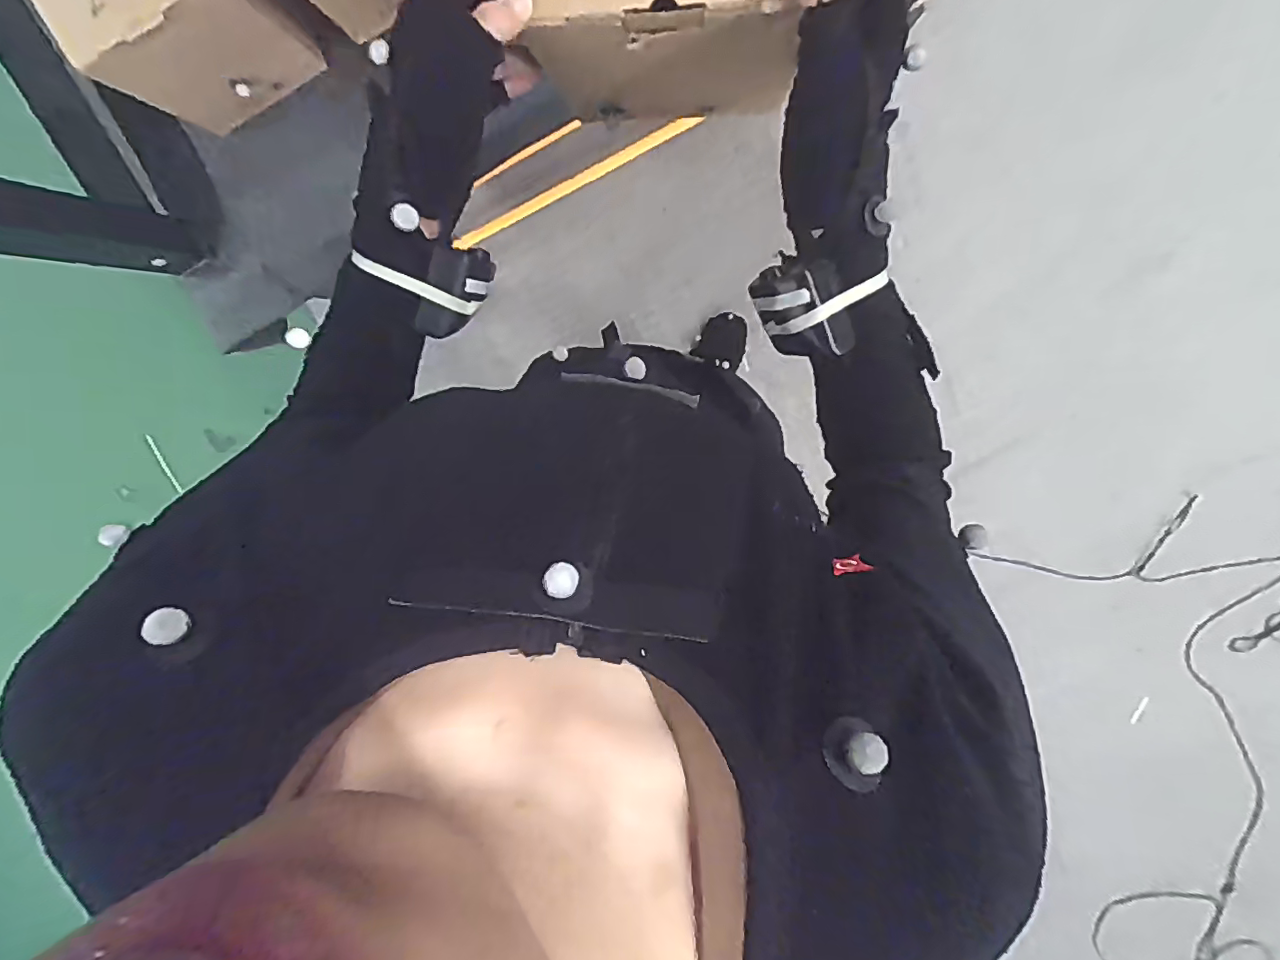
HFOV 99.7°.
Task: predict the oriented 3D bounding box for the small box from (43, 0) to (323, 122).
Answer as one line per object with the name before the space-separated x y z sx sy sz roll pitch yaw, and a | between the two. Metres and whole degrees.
small box | -0.480 -0.516 0.551 0.168 0.176 0.179 -27 104 11
